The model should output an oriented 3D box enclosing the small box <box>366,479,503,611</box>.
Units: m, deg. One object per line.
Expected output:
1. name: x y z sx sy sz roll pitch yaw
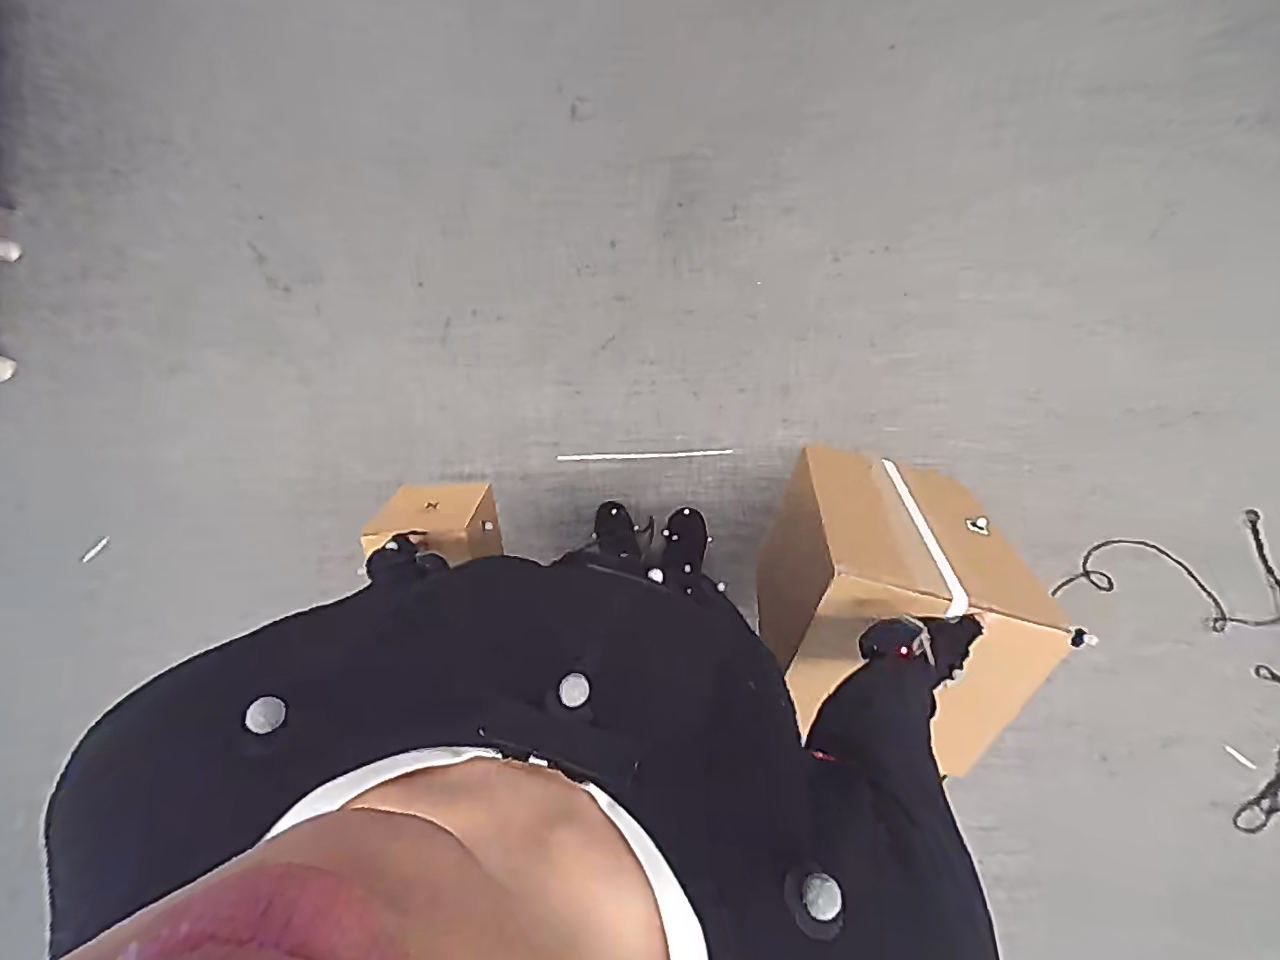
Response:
1. small box: -0.345 0.110 0.948 0.168 0.179 0.176 -2 116 1
